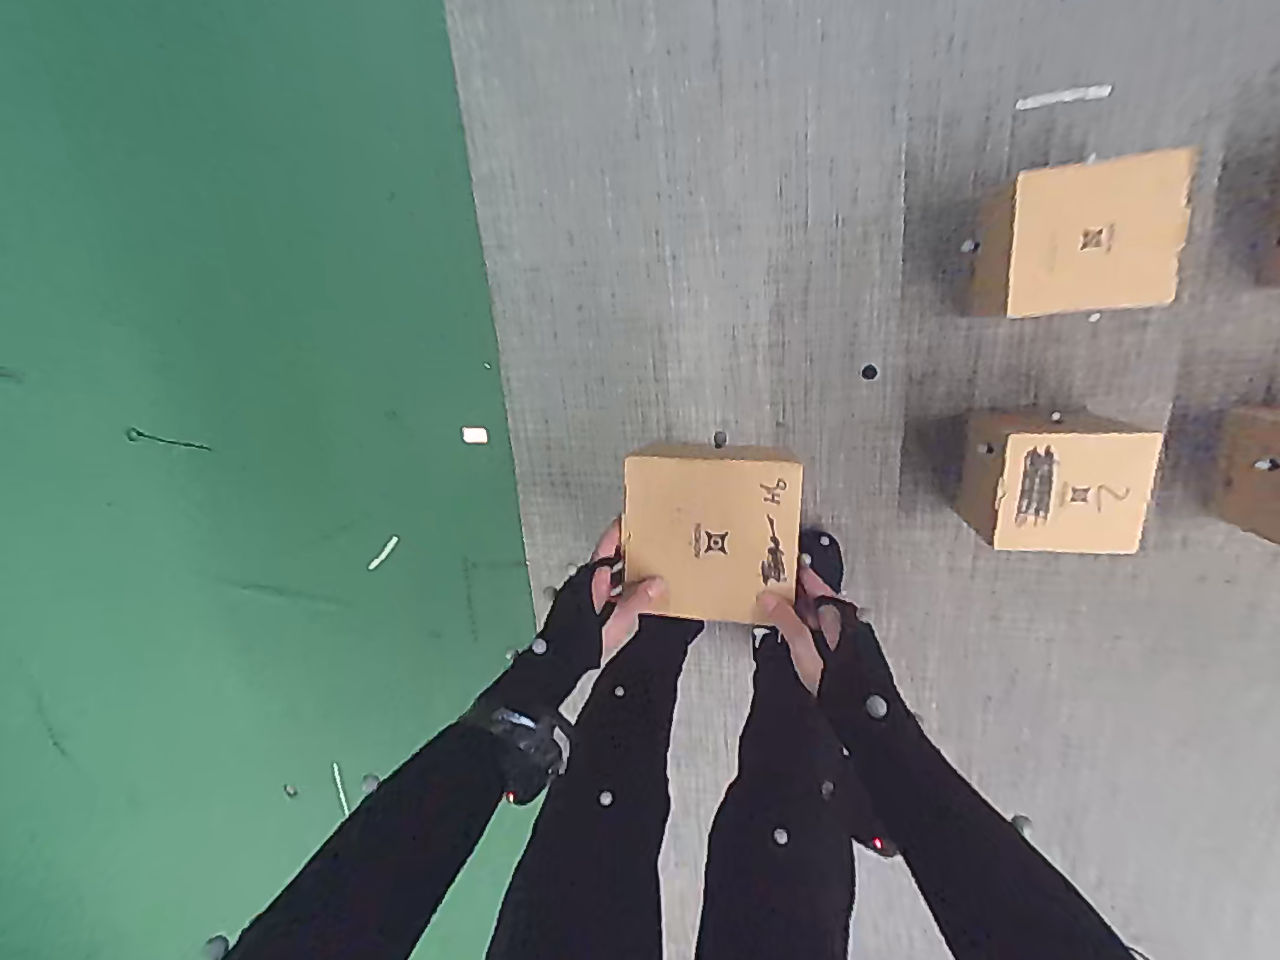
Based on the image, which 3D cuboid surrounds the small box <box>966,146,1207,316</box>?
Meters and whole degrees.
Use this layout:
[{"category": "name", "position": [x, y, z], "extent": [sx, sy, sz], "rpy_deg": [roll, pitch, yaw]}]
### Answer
[{"category": "small box", "position": [0.550, -0.304, 0.696], "extent": [0.179, 0.176, 0.168], "rpy_deg": [-1, 105, 14]}]

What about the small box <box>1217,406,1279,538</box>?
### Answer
[{"category": "small box", "position": [0.920, -0.006, 0.698], "extent": [0.179, 0.176, 0.168], "rpy_deg": [-3, 105, 13]}]

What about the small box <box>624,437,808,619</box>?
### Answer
[{"category": "small box", "position": [0.089, 0.040, 0.615], "extent": [0.179, 0.176, 0.168], "rpy_deg": [4, 99, 12]}]

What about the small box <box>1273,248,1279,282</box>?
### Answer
[{"category": "small box", "position": [0.896, -0.318, 0.607], "extent": [0.179, 0.176, 0.168], "rpy_deg": [-2, 106, 14]}]
